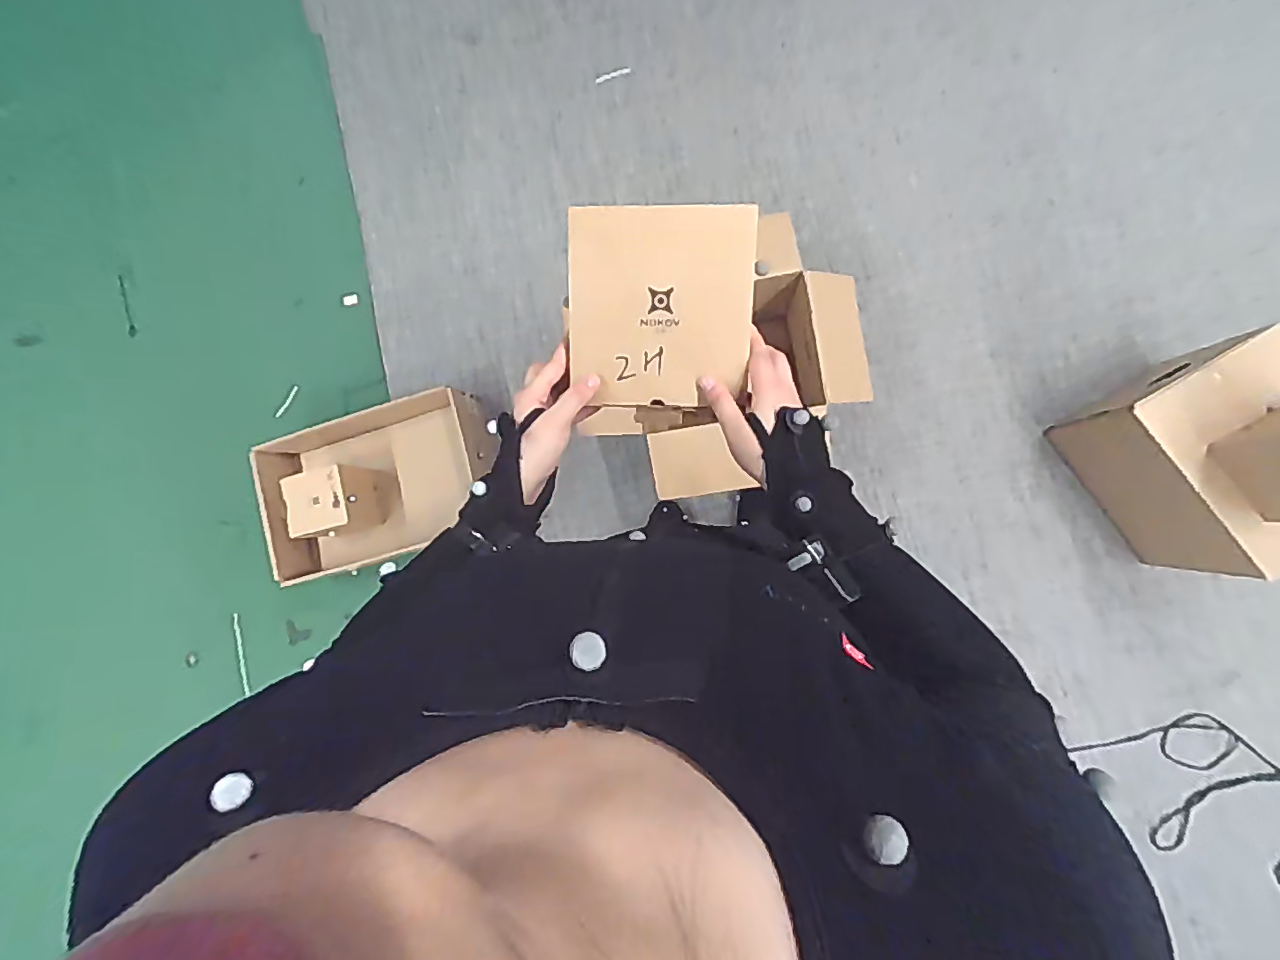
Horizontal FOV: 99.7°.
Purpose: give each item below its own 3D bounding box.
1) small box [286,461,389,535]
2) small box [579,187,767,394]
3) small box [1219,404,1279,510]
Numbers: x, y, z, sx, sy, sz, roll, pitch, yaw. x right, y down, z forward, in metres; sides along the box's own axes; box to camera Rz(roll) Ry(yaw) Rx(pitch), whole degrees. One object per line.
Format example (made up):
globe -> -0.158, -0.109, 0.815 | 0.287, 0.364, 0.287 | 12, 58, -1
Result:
small box -> -0.838, 0.056, 1.508 | 0.179, 0.176, 0.168 | -15, 83, 7
small box -> 0.033, -0.184, 0.562 | 0.168, 0.176, 0.179 | 2, 104, 6
small box -> 1.195, -0.054, 0.936 | 0.168, 0.176, 0.179 | -32, 82, 7
